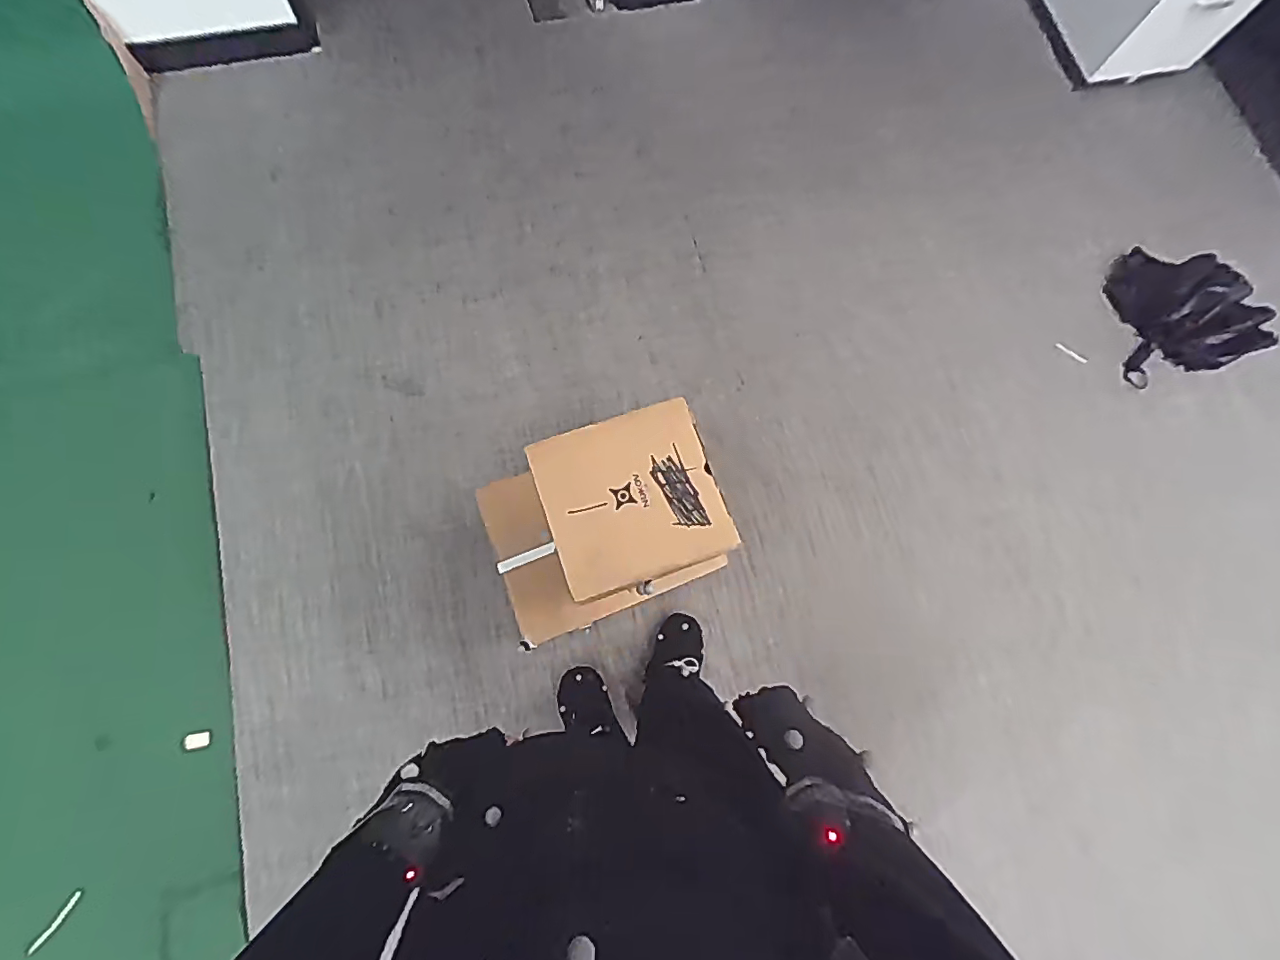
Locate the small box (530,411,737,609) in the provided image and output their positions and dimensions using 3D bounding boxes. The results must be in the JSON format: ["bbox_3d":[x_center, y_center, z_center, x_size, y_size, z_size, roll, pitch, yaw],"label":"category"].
[{"bbox_3d":[-0.013,0.043,0.627,0.179,0.176,0.168,-18,78,-8],"label":"small box"}]
